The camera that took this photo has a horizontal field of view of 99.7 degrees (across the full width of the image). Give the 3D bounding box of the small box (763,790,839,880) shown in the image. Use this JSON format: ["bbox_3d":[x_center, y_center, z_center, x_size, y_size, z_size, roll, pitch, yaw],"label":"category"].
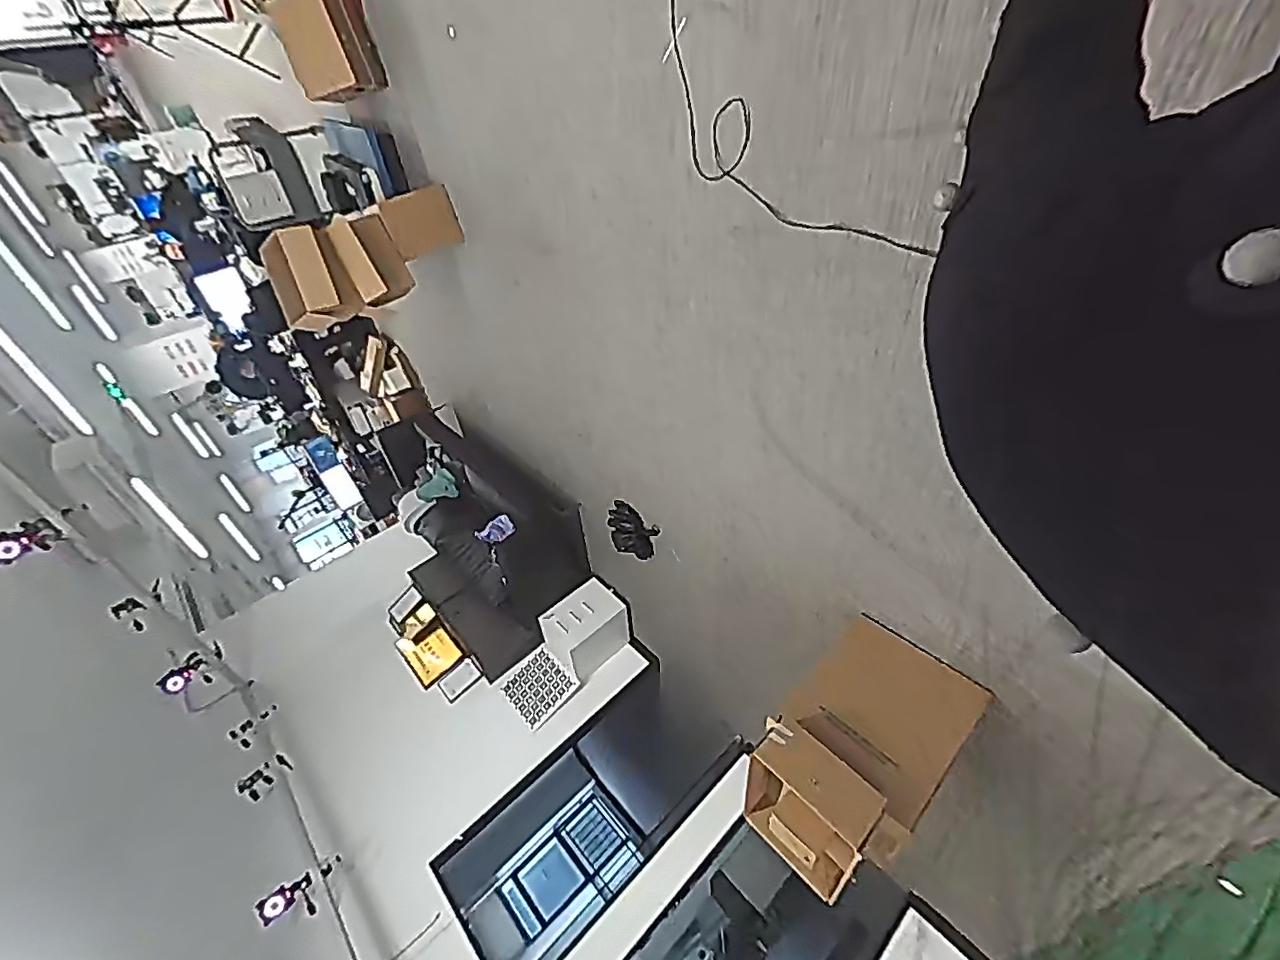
[{"bbox_3d":[0.538,1.186,1.824,0.179,0.176,0.168,33,145,39],"label":"small box"}]
